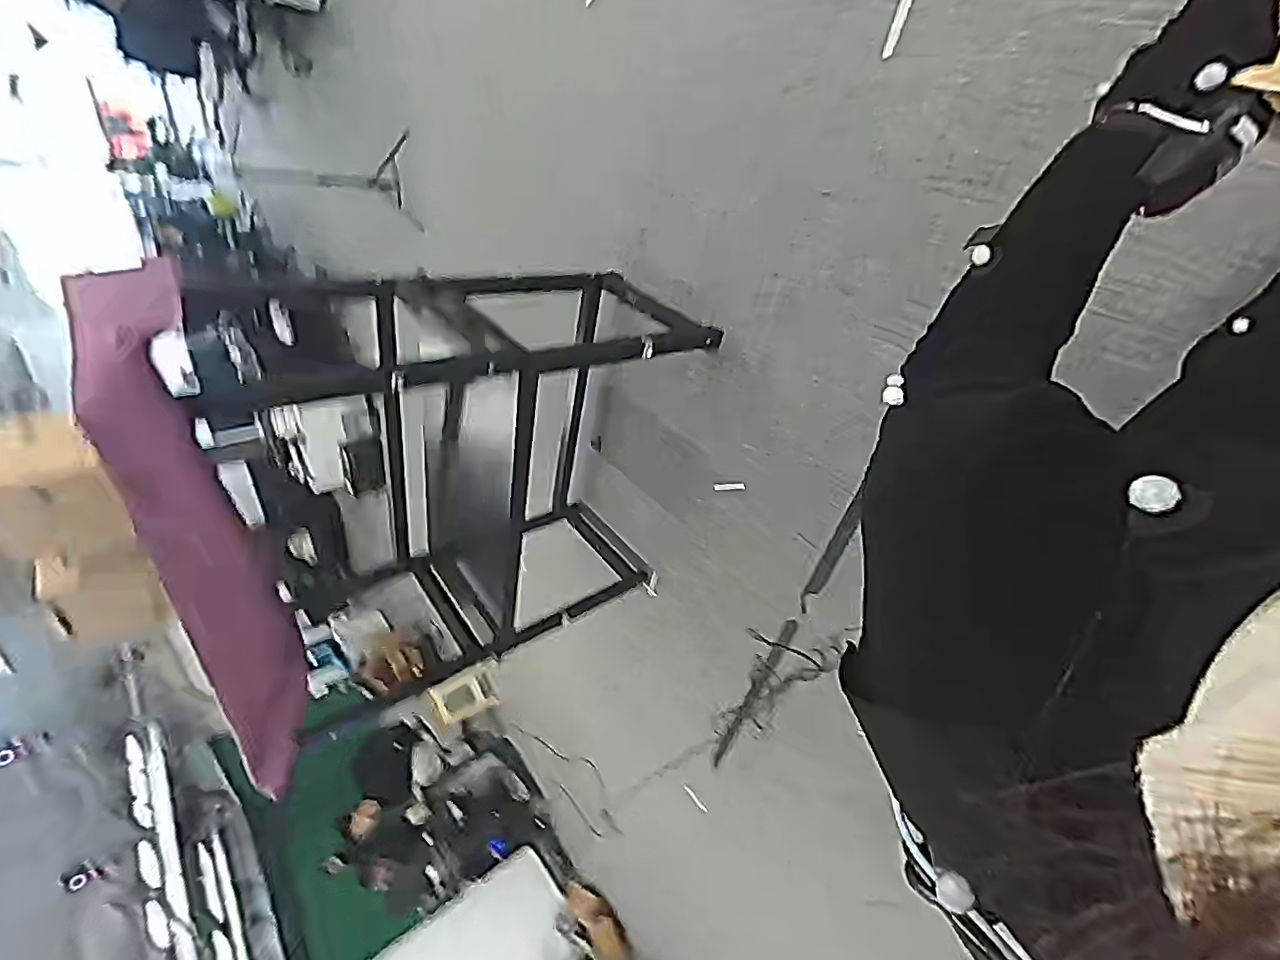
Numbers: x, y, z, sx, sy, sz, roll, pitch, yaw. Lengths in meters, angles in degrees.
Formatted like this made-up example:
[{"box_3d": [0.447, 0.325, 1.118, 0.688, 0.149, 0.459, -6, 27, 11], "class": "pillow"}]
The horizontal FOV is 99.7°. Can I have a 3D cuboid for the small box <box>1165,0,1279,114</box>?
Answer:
[{"box_3d": [0.886, -0.617, 0.735, 0.179, 0.176, 0.168, 42, 134, 30], "class": "small box"}]

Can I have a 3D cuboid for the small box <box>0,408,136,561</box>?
[{"box_3d": [-0.994, -0.001, 0.910, 0.168, 0.176, 0.179, 47, 137, 30], "class": "small box"}]

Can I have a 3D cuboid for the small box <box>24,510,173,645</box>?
[{"box_3d": [-1.058, 0.182, 1.068, 0.179, 0.176, 0.168, 43, 135, 33], "class": "small box"}]
